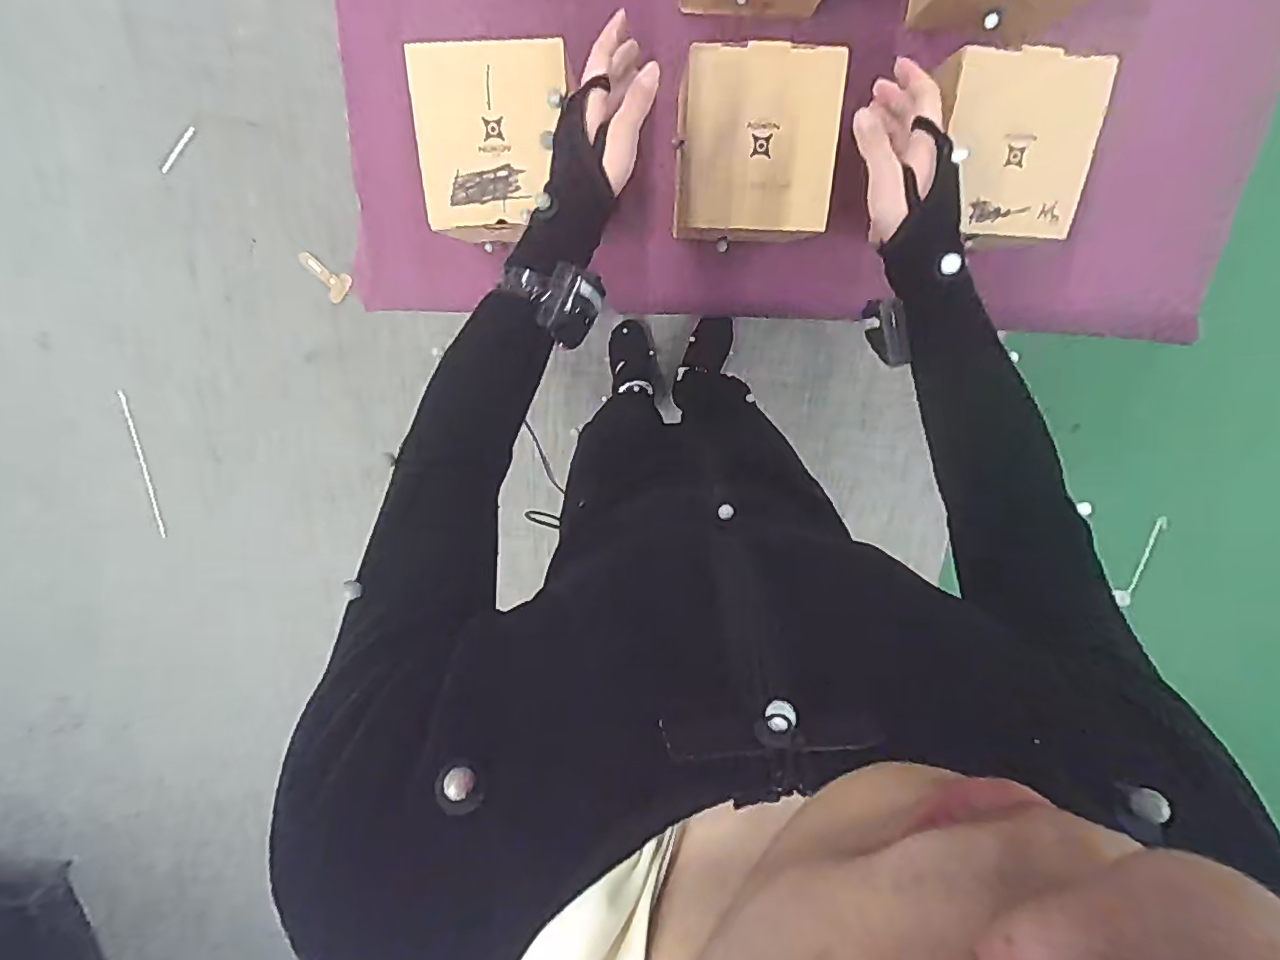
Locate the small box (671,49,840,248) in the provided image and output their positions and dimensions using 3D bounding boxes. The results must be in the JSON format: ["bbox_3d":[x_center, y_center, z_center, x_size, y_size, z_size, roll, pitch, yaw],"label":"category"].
[{"bbox_3d":[0.126,-0.389,0.664,0.168,0.176,0.179,2,110,1],"label":"small box"}]

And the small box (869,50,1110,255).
[{"bbox_3d":[0.402,-0.381,0.660,0.168,0.176,0.179,4,109,0],"label":"small box"}]

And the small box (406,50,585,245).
[{"bbox_3d":[-0.161,-0.389,0.665,0.168,0.176,0.179,-1,108,1],"label":"small box"}]

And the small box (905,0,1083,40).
[{"bbox_3d":[0.411,-0.614,0.576,0.168,0.176,0.179,3,111,0],"label":"small box"}]
